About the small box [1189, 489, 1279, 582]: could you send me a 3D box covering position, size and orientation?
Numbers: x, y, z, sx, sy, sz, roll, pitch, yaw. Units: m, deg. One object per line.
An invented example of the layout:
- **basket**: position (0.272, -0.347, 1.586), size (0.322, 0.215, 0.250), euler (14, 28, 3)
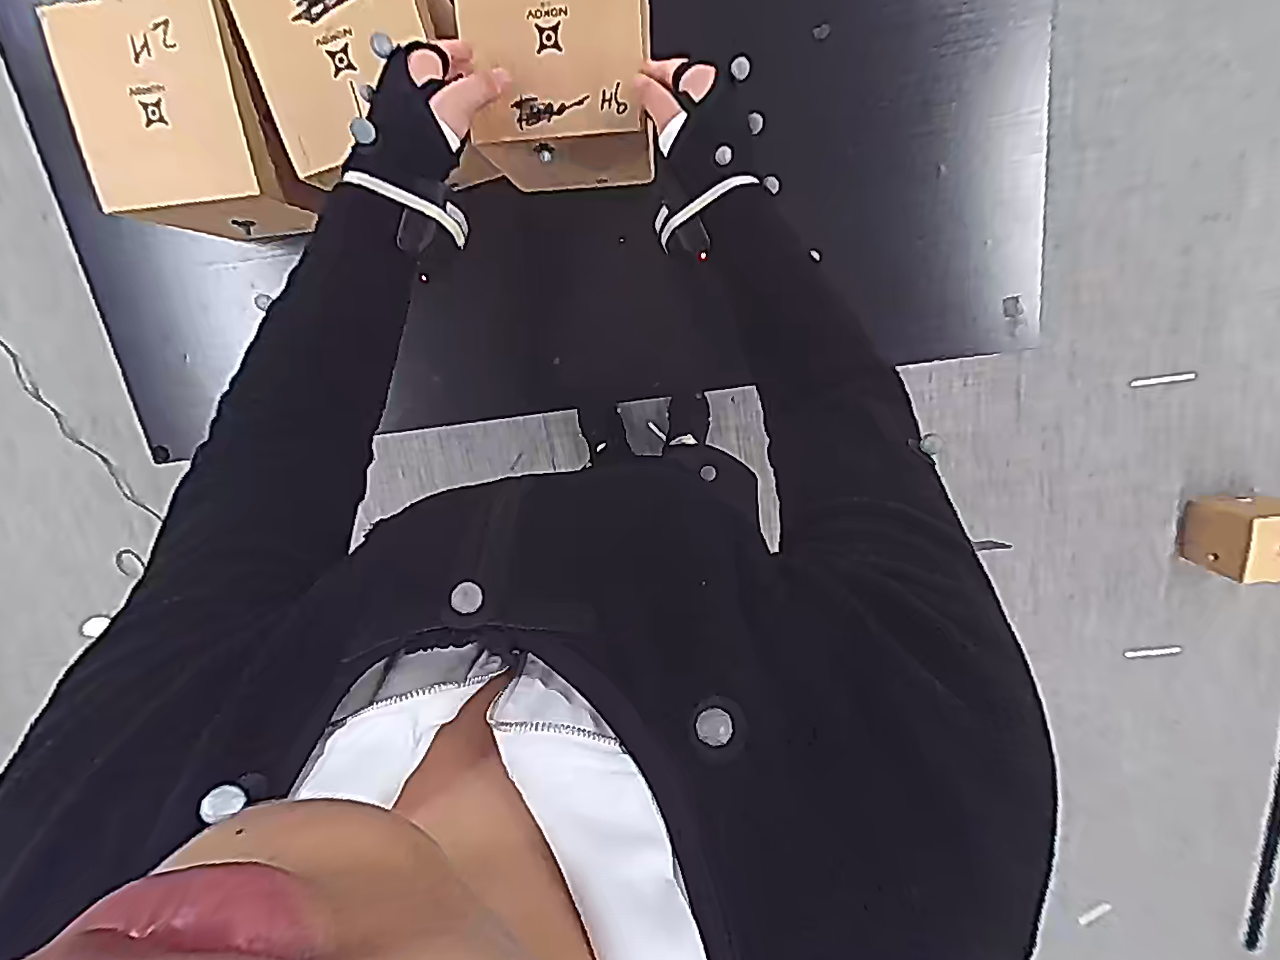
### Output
- **small box**: position (1.563, 0.137, 1.375), size (0.168, 0.176, 0.179), euler (-8, 104, 4)

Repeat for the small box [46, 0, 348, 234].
- **small box**: position (-0.451, -0.376, 0.587), size (0.168, 0.176, 0.179), euler (-5, 104, 3)
